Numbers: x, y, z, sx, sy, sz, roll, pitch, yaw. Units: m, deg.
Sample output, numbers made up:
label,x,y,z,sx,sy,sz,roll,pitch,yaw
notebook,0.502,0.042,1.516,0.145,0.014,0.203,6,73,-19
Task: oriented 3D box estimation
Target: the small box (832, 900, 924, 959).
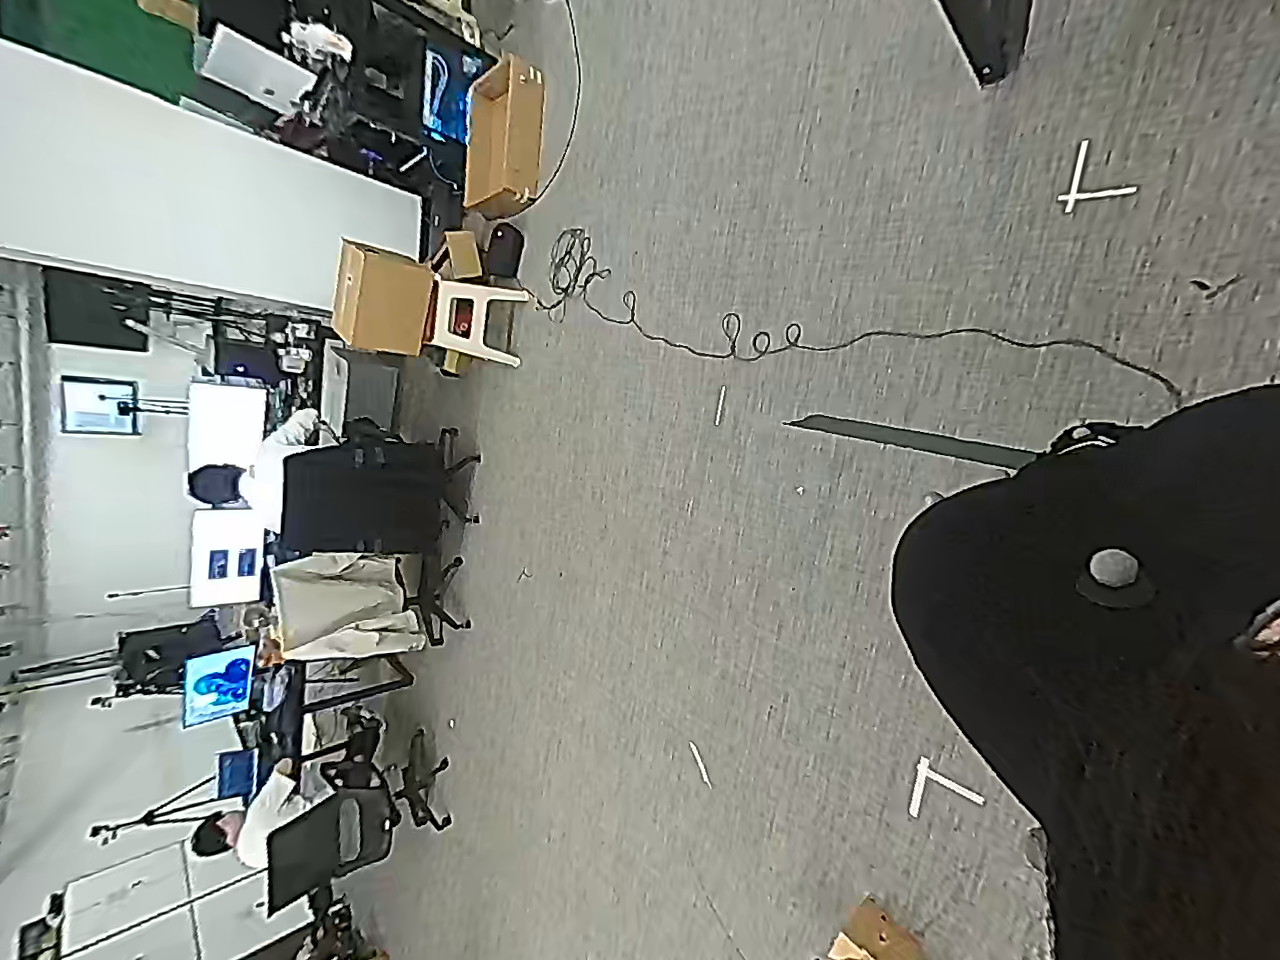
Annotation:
label,x,y,z,sx,sy,sz,roll,pitch,yaw
small box,0.648,1.311,1.477,0.168,0.176,0.179,30,111,41
